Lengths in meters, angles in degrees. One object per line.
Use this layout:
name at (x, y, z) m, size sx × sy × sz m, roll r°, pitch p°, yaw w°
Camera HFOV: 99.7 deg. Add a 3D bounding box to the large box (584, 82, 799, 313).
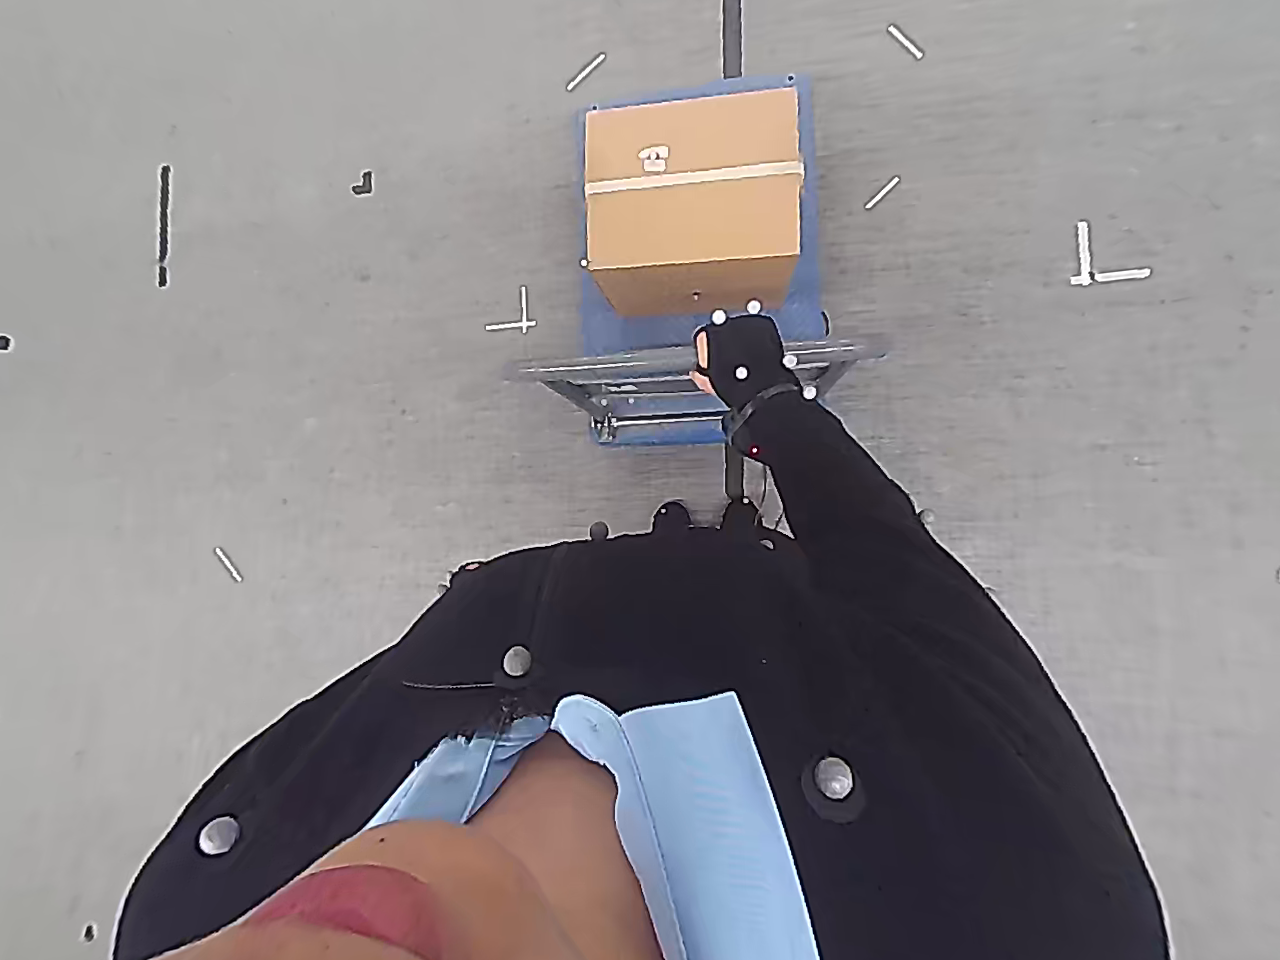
large box at (0.117, -0.565, 1.158) m, size 0.408 × 0.320 × 0.320 m, roll -1°, pitch 89°, yaw 10°
